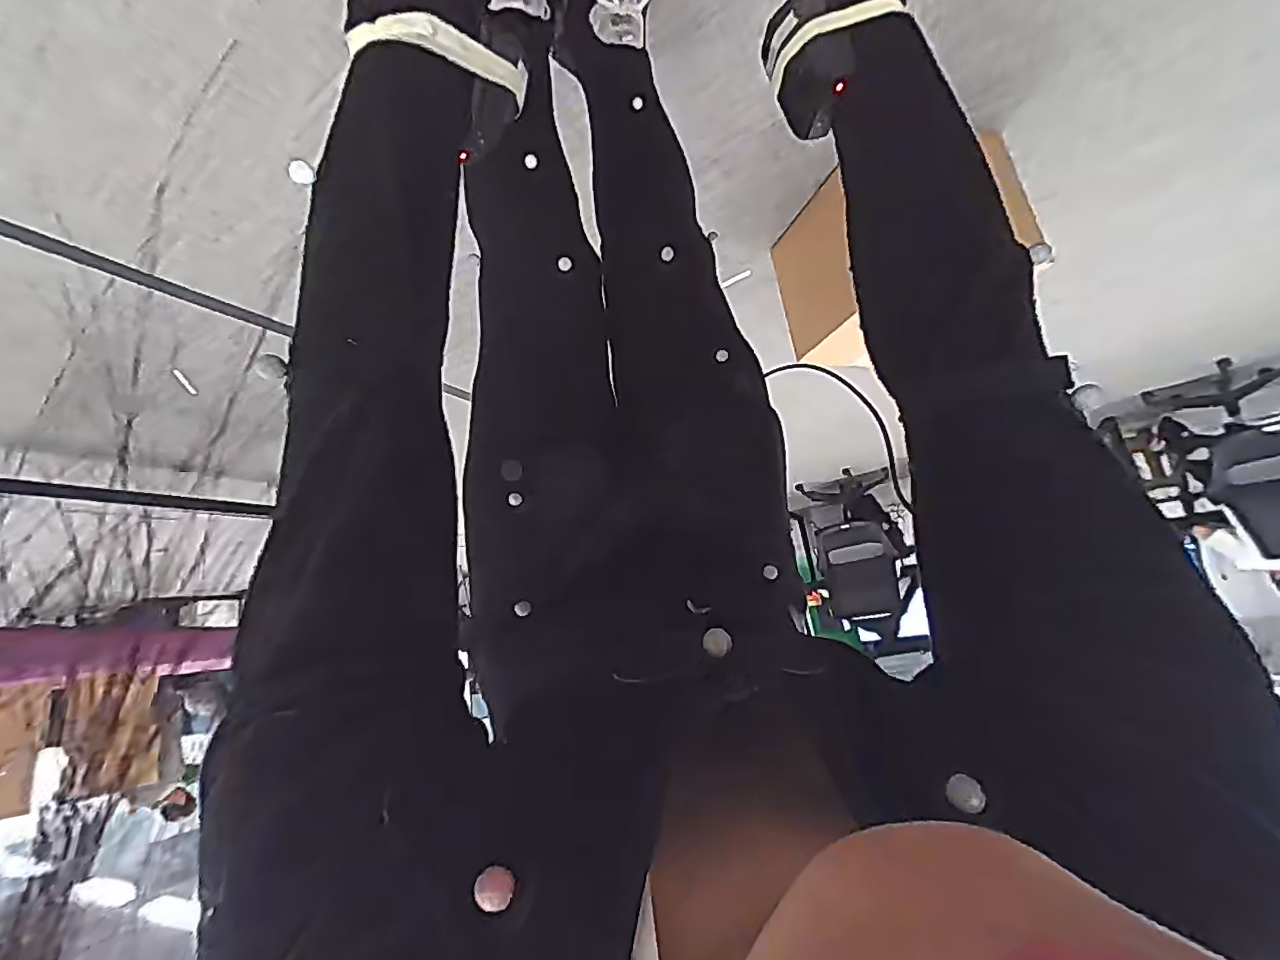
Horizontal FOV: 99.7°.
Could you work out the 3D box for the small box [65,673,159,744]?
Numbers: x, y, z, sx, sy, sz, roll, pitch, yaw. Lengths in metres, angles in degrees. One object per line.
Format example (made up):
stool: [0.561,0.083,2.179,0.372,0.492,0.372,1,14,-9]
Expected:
small box: [-1.612,0.692,1.655,0.179,0.176,0.168,-18,162,28]

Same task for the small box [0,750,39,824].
small box: [-1.729,0.819,1.424,0.179,0.176,0.168,-20,162,30]

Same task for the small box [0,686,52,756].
small box: [-1.748,0.664,1.469,0.179,0.176,0.168,-19,163,27]

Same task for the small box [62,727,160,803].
small box: [-1.583,0.850,1.626,0.179,0.176,0.168,-18,162,25]
